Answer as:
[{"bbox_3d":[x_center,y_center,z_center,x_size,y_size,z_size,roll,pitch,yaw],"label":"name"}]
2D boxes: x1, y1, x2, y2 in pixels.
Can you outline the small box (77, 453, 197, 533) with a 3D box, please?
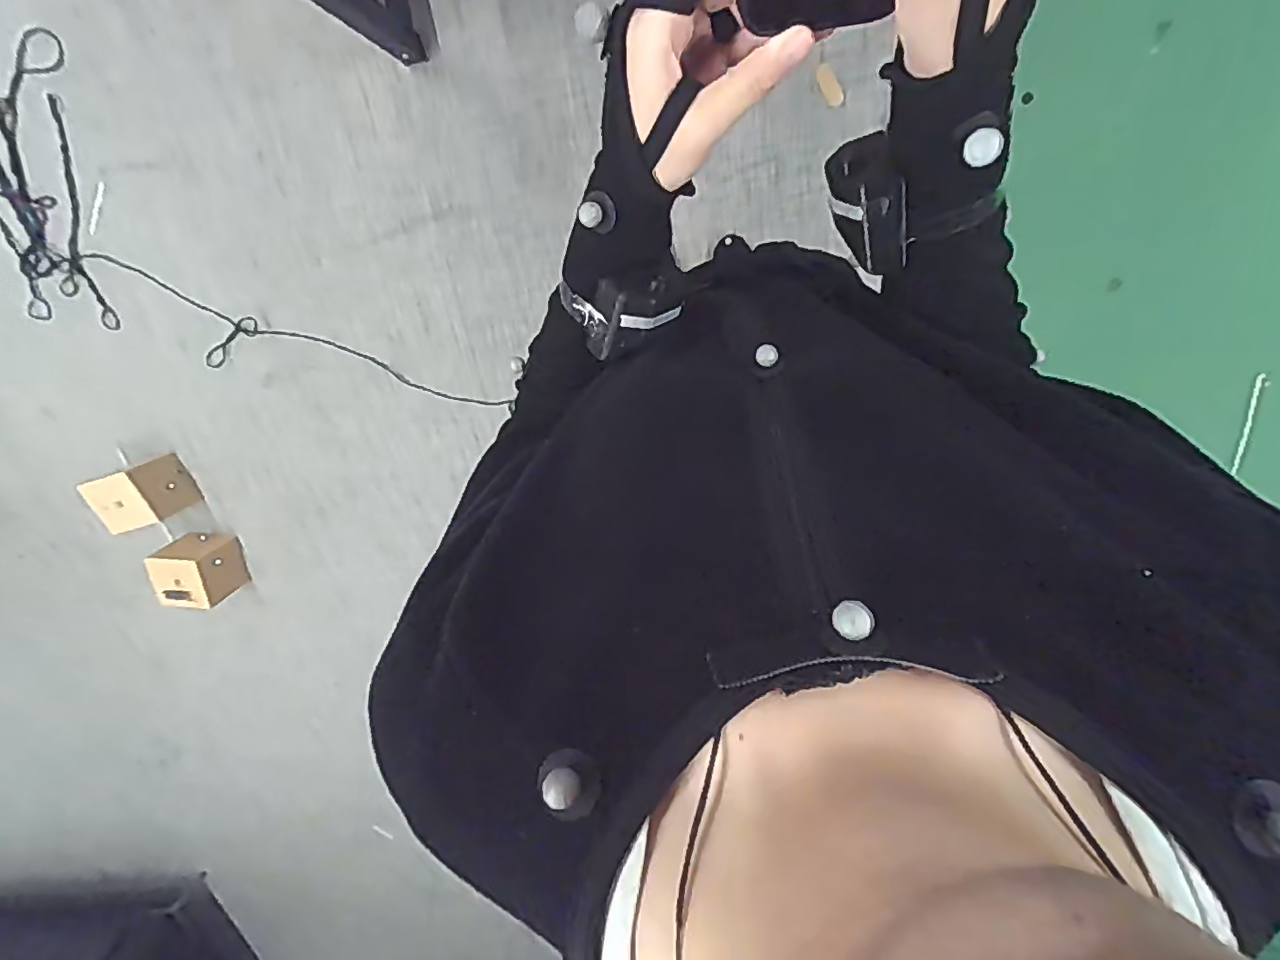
[{"bbox_3d":[-1.480,0.034,1.611,0.179,0.176,0.168,-13,111,10],"label":"small box"}]
